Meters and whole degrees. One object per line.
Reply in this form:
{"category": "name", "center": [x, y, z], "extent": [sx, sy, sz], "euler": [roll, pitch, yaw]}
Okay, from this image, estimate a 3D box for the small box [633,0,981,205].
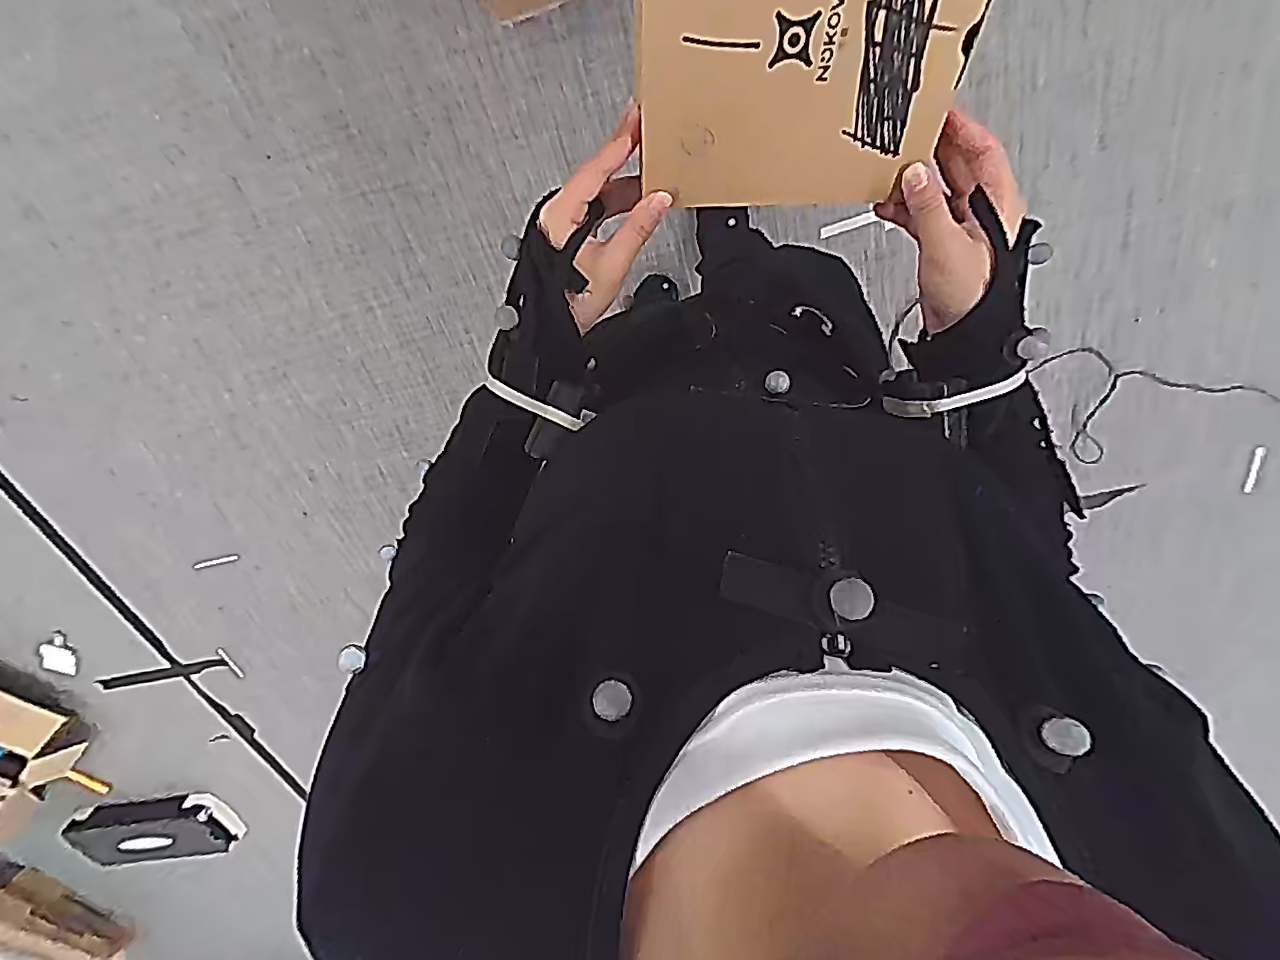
{"category": "small box", "center": [0.085, -0.293, 0.334], "extent": [0.179, 0.176, 0.168], "euler": [-1, 141, 0]}
